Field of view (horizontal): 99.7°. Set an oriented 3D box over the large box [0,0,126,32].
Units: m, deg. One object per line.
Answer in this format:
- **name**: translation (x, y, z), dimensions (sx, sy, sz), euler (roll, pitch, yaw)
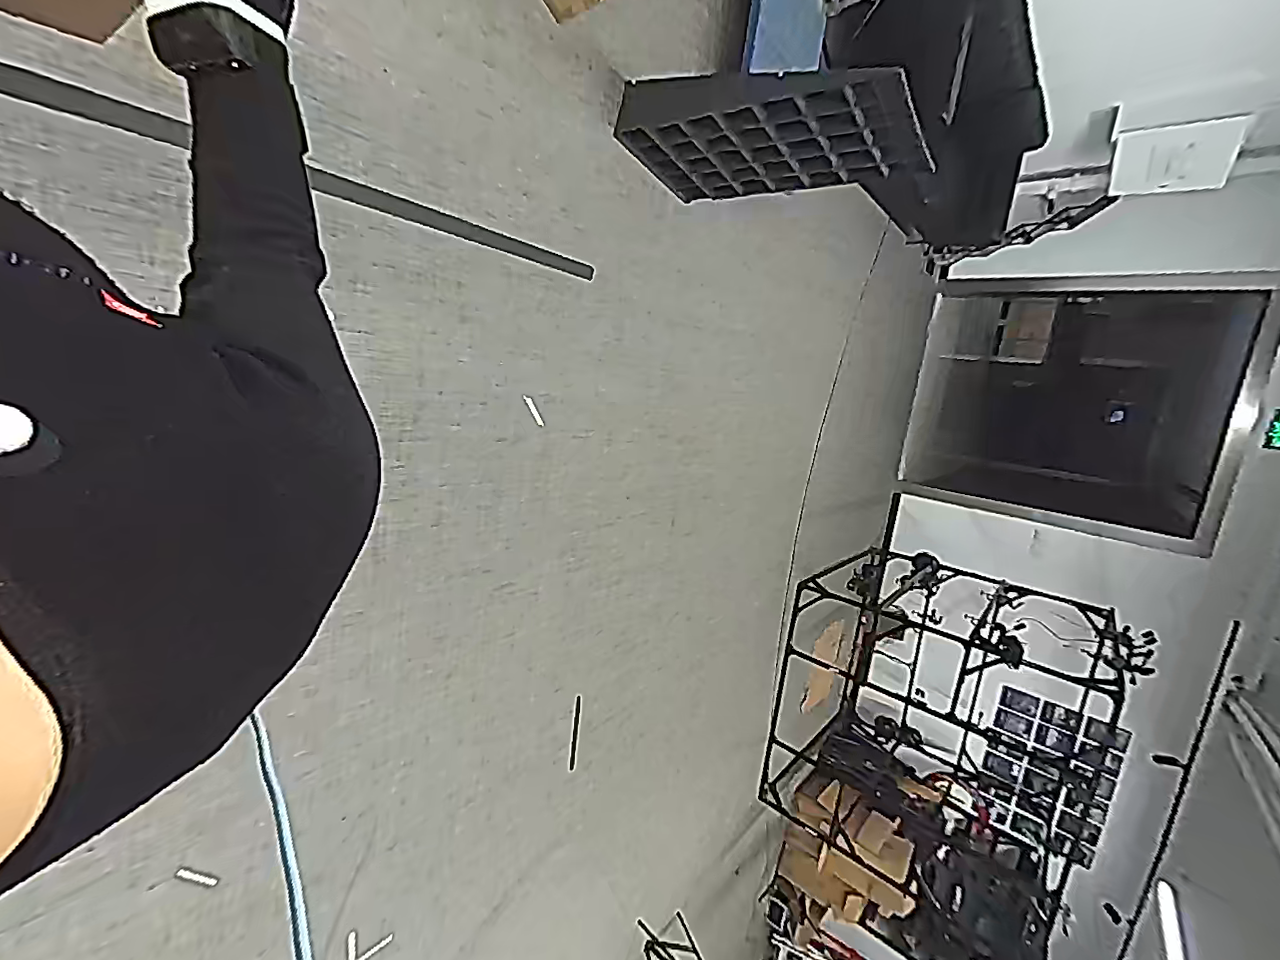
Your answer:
- **large box**: translation (-0.527, -0.507, 0.252), dimensions (0.408, 0.320, 0.320), euler (-14, 118, -51)
